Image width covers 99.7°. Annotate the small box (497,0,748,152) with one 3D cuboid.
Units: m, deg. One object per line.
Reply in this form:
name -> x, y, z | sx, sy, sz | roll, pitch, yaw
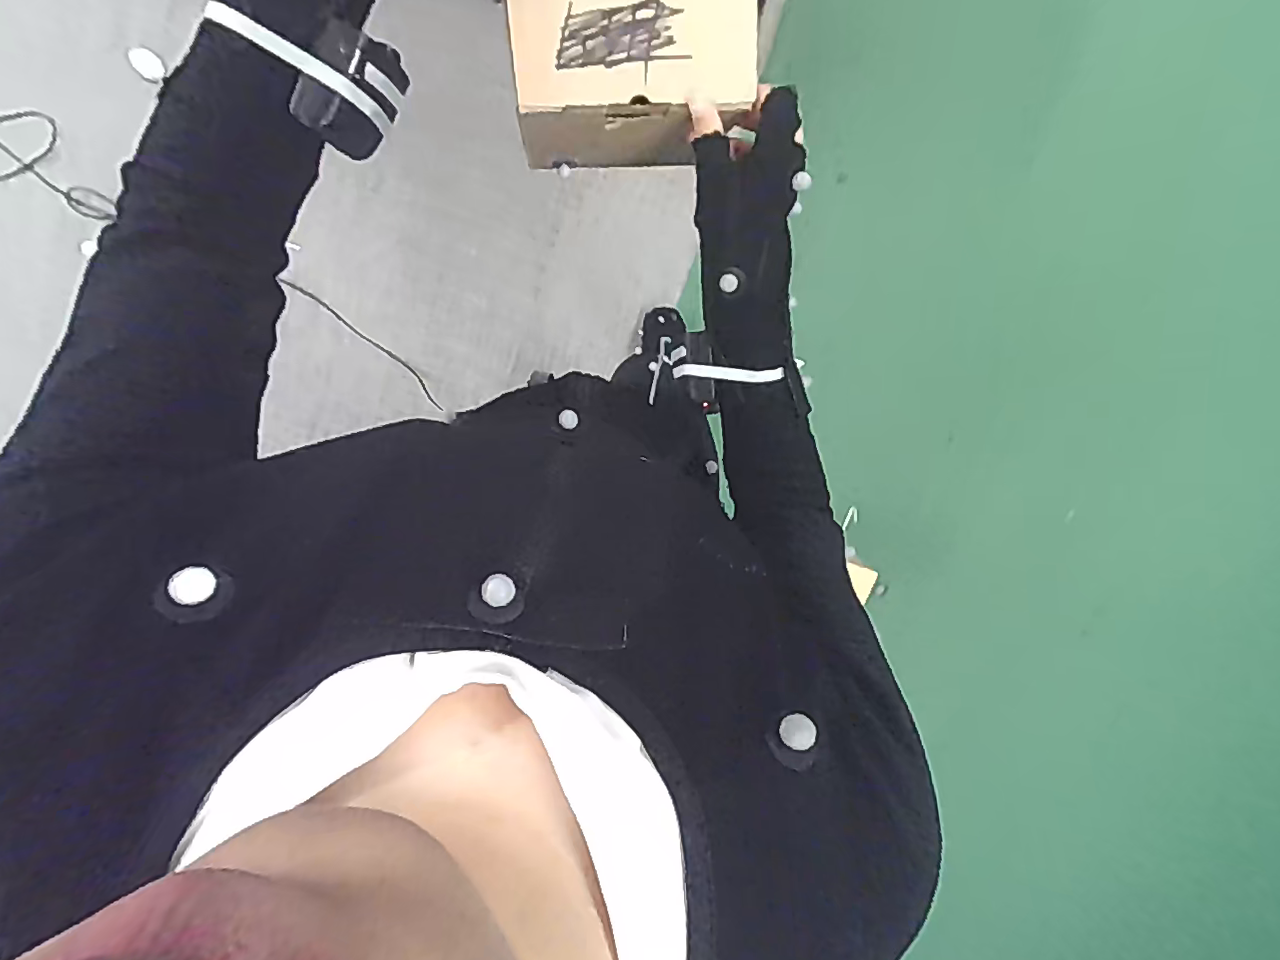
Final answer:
small box -> -0.021, -0.366, 0.413 | 0.168, 0.176, 0.179 | -6, 108, -7
